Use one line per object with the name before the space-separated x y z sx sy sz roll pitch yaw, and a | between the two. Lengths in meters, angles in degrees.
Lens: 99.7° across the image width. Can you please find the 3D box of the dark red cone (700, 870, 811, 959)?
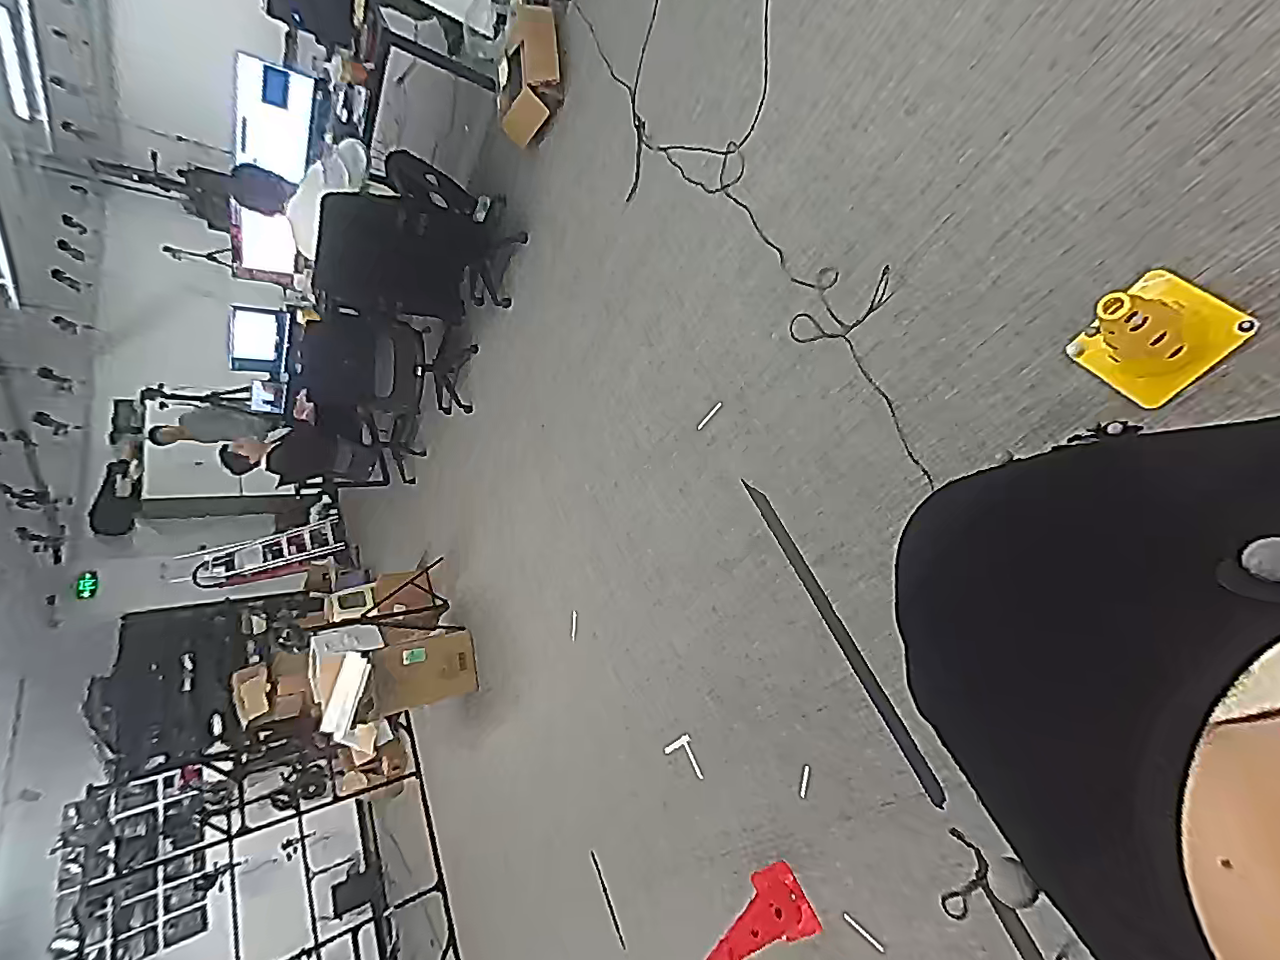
dark red cone | 0.301 1.354 1.591 0.201 0.394 0.202 -57 51 33
